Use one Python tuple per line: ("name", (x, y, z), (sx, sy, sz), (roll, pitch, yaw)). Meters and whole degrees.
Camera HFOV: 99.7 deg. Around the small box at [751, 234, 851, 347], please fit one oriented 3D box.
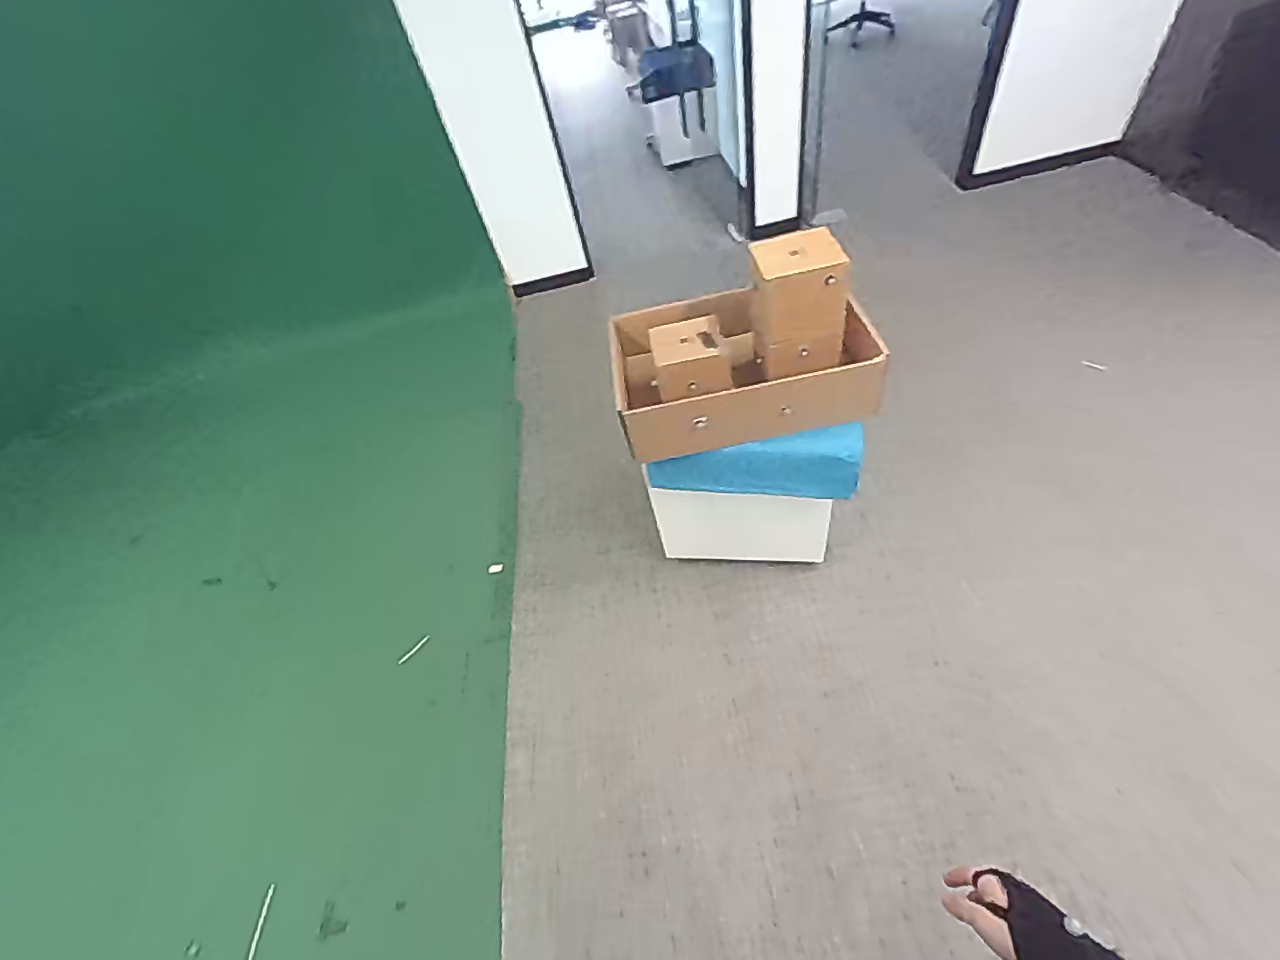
("small box", (0.358, -0.421, 1.219), (0.179, 0.176, 0.168), (-11, 47, 5))
